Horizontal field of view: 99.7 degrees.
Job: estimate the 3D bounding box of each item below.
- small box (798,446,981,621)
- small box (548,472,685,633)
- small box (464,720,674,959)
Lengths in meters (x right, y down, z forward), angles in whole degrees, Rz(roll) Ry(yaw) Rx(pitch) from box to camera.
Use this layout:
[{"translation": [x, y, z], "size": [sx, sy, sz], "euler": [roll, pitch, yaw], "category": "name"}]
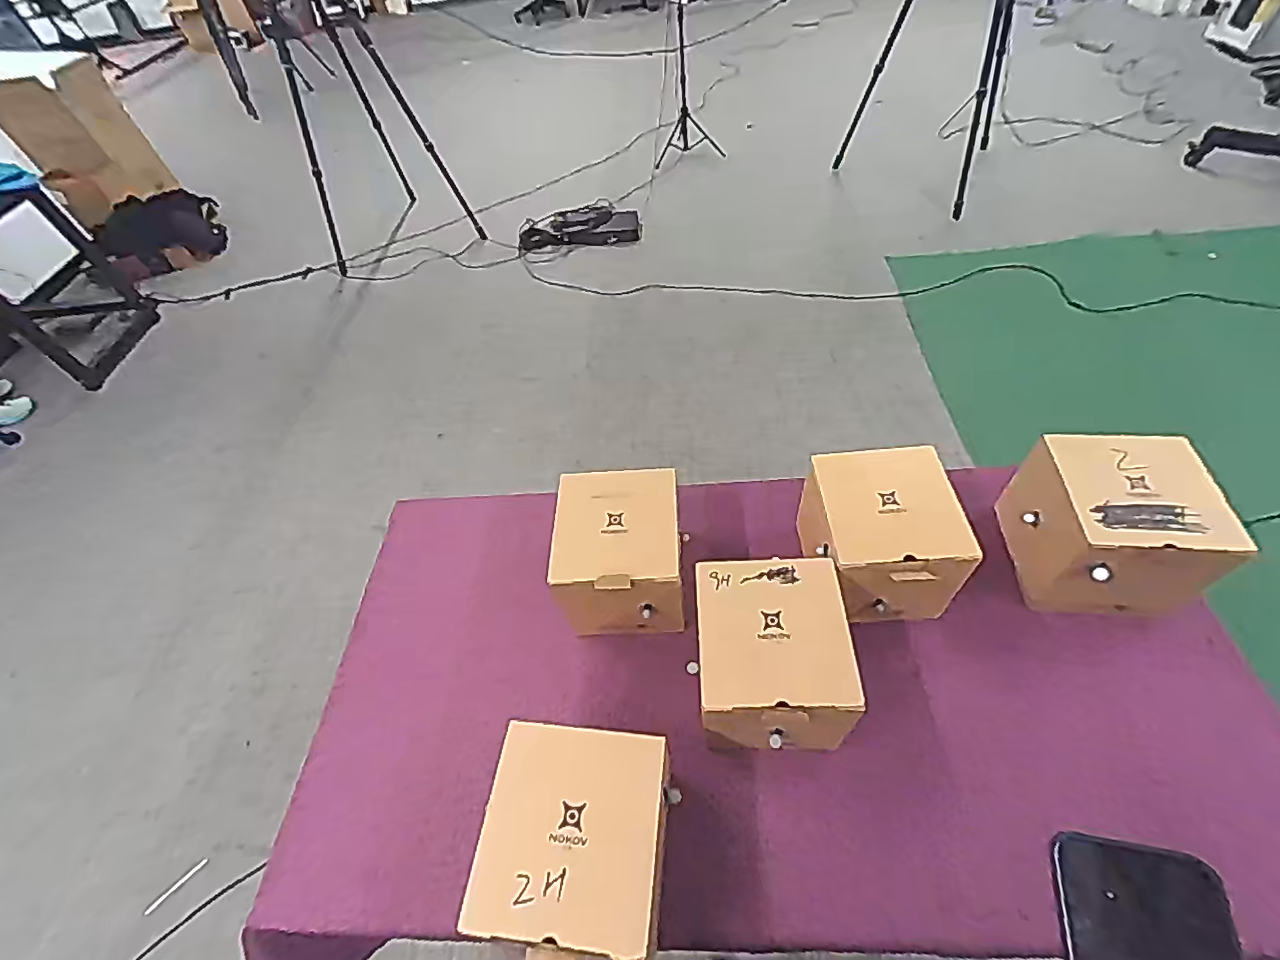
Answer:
[{"translation": [0.323, 0.077, 0.747], "size": [0.168, 0.176, 0.179], "euler": [-5, 53, 5], "category": "small box"}, {"translation": [-0.024, 0.110, 0.774], "size": [0.168, 0.176, 0.179], "euler": [-3, 52, 5], "category": "small box"}, {"translation": [-0.054, 0.374, 0.564], "size": [0.168, 0.176, 0.179], "euler": [2, 51, 9], "category": "small box"}]
